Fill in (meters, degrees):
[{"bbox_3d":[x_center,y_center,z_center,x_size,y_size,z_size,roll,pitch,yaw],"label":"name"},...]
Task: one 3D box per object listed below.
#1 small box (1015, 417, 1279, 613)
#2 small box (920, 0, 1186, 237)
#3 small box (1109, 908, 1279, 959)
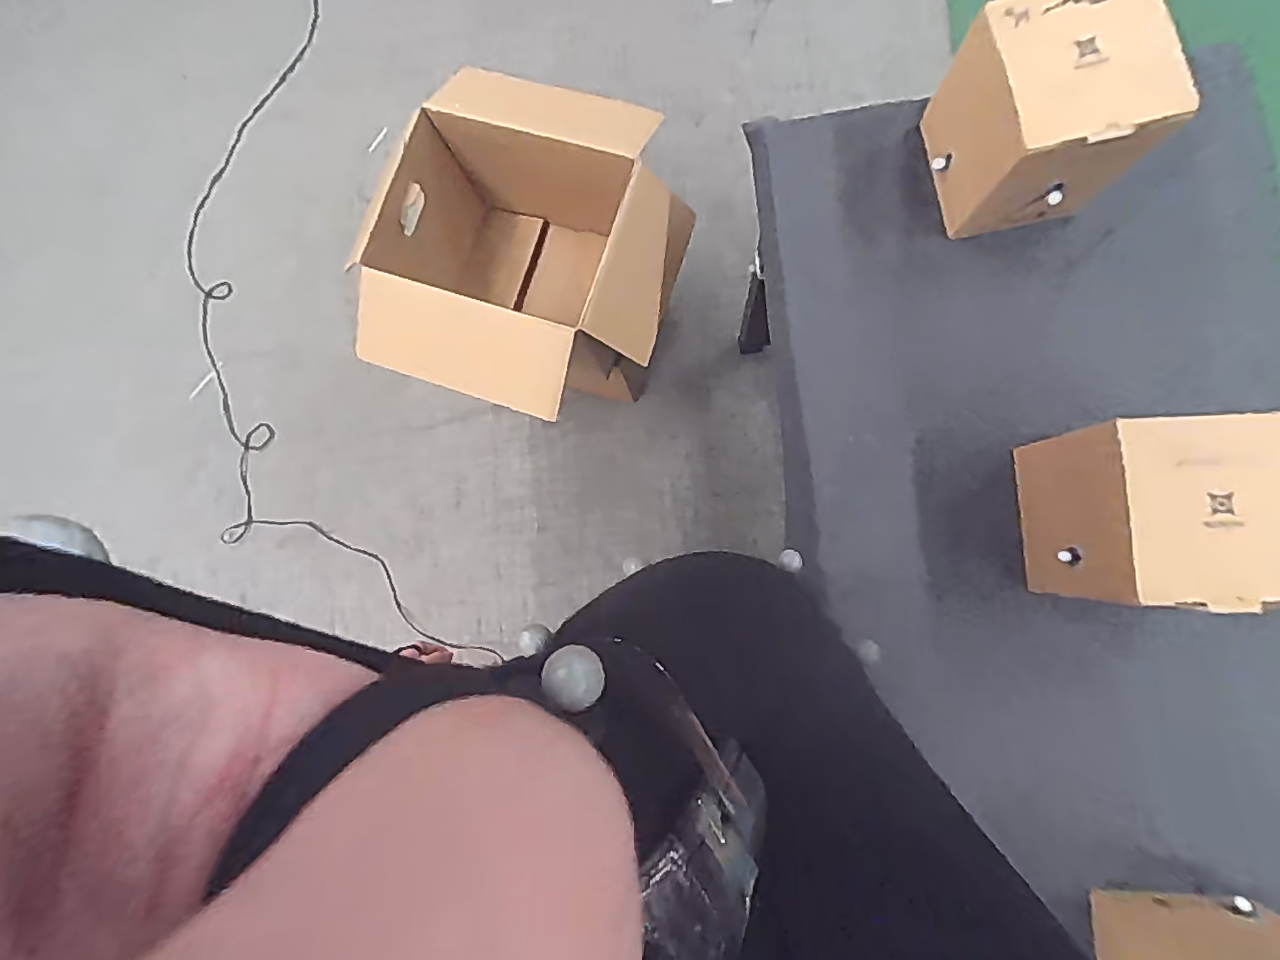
[{"bbox_3d":[0.534,0.041,0.568,0.168,0.176,0.179,-3,81,4],"label":"small box"},{"bbox_3d":[0.459,-0.410,0.634,0.168,0.176,0.179,-11,83,4],"label":"small box"},{"bbox_3d":[0.577,0.535,0.493,0.168,0.176,0.179,-2,83,6],"label":"small box"}]
